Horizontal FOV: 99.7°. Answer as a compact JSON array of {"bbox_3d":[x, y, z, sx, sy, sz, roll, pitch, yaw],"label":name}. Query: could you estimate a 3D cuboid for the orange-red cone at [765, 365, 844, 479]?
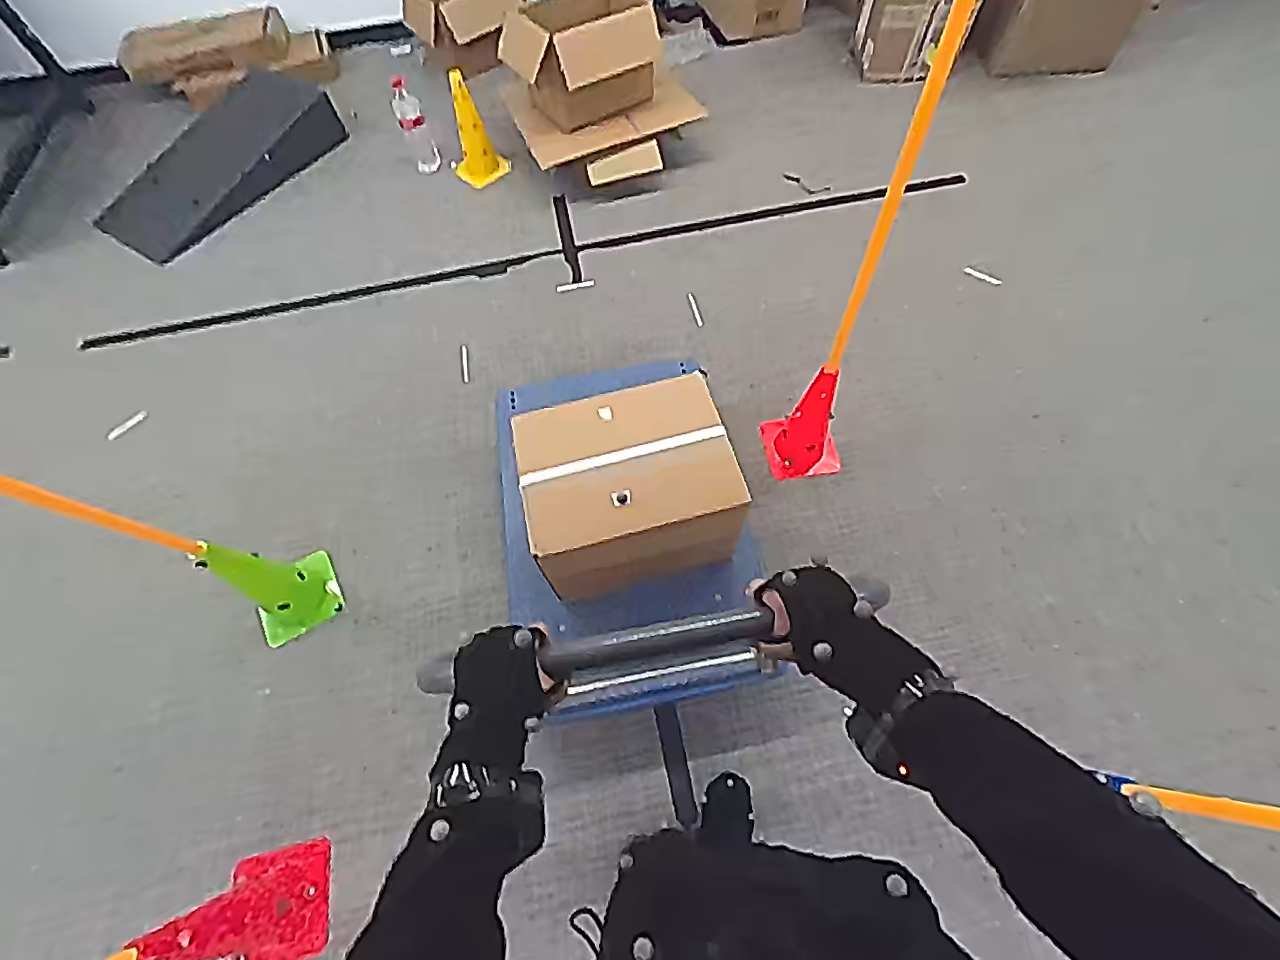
[{"bbox_3d":[0.469,-0.176,1.425,0.199,0.360,0.198,-6,62,-1],"label":"orange-red cone"}]
